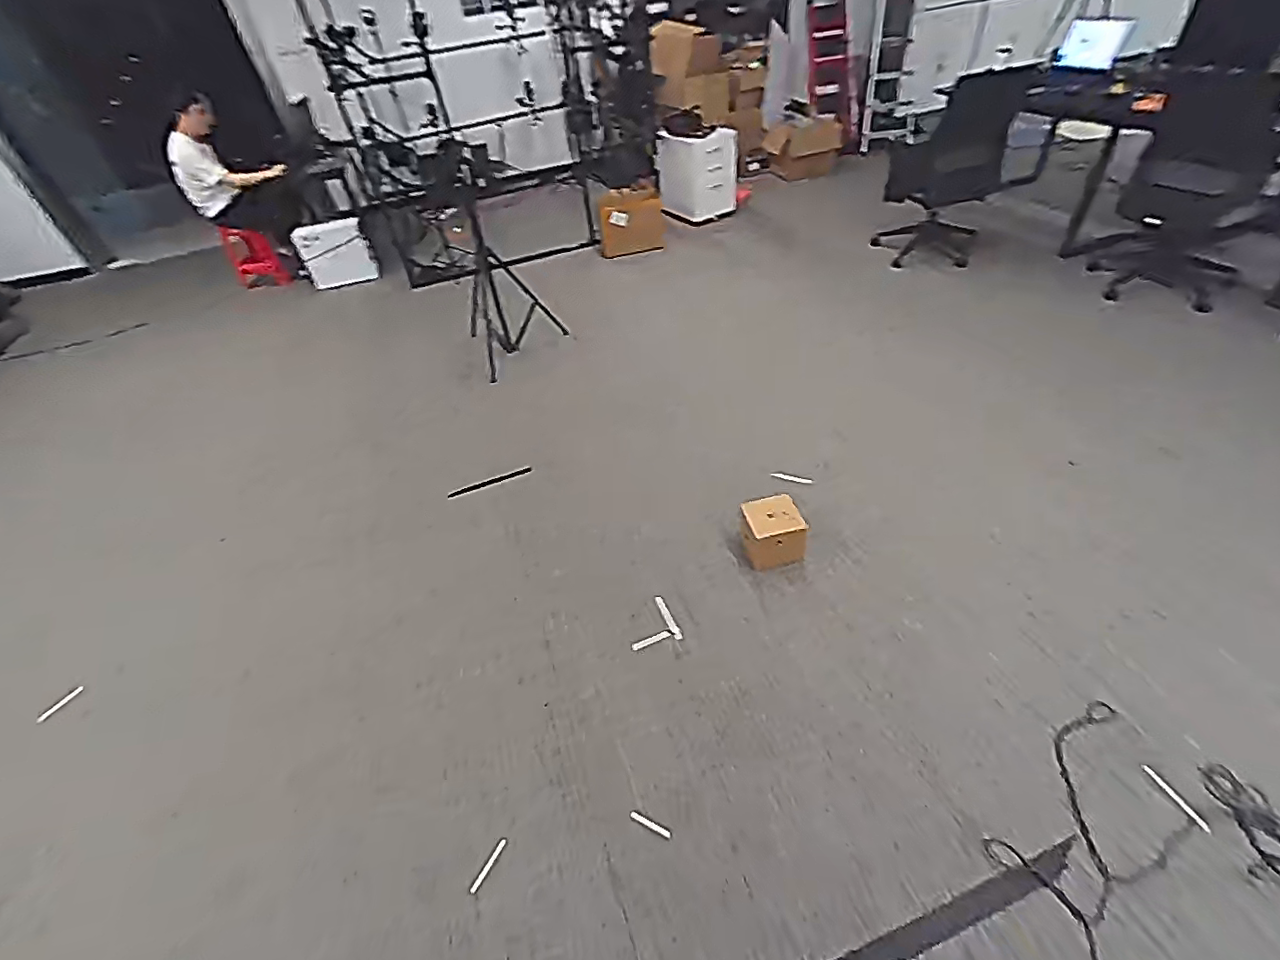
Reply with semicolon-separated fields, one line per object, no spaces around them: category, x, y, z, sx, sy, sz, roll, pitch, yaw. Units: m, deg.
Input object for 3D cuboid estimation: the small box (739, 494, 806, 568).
small box;0.448;0.178;1.849;0.179;0.176;0.168;-12;43;-4
